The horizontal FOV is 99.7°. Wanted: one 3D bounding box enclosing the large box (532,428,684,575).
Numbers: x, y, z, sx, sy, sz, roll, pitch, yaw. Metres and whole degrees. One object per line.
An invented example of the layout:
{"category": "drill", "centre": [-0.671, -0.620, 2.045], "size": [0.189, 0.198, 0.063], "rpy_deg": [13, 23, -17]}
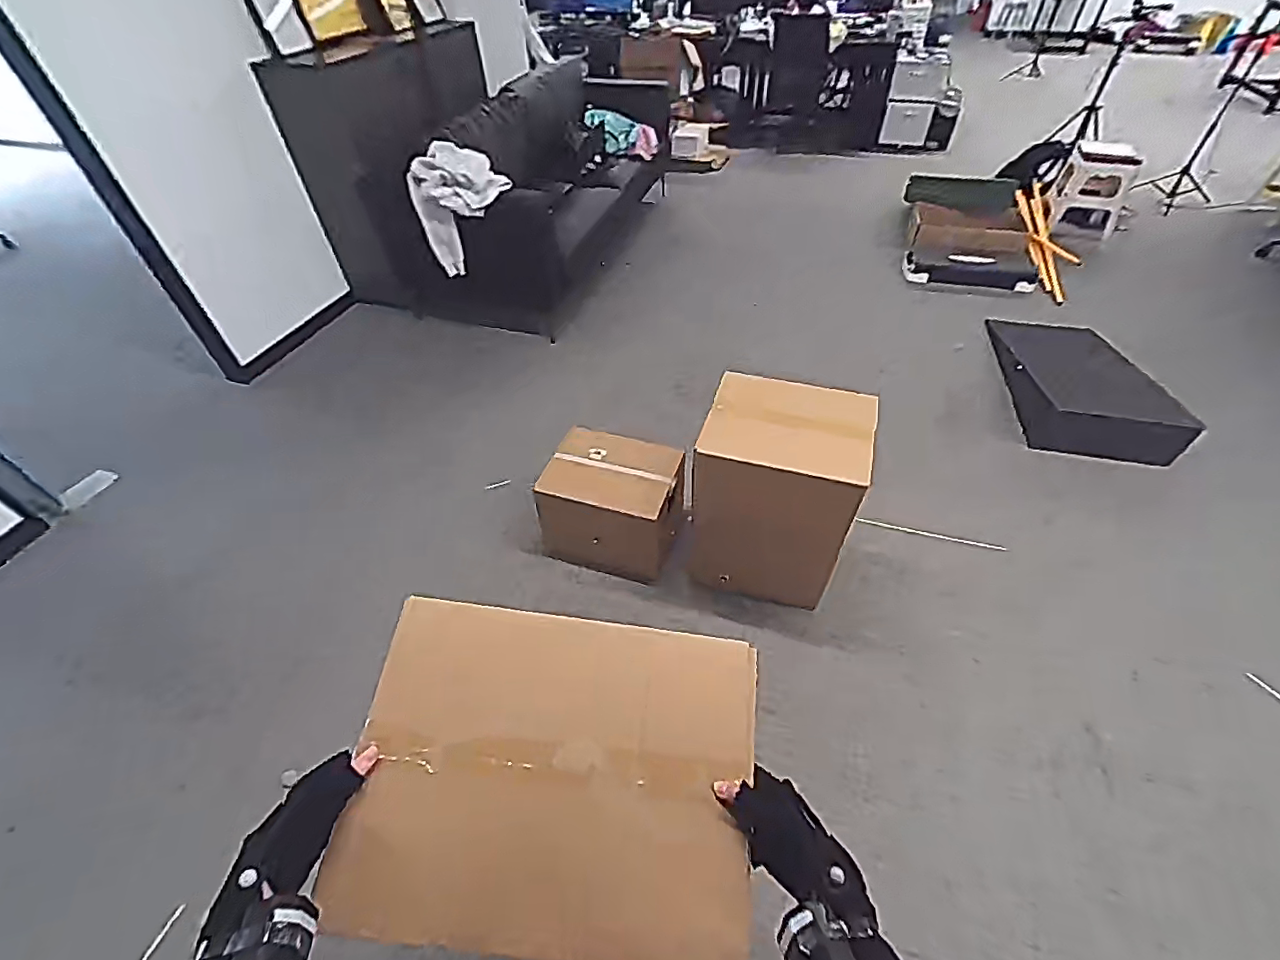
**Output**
{"category": "large box", "centre": [-0.084, 0.069, 1.789], "size": [0.408, 0.320, 0.320], "rpy_deg": [12, 48, 15]}
